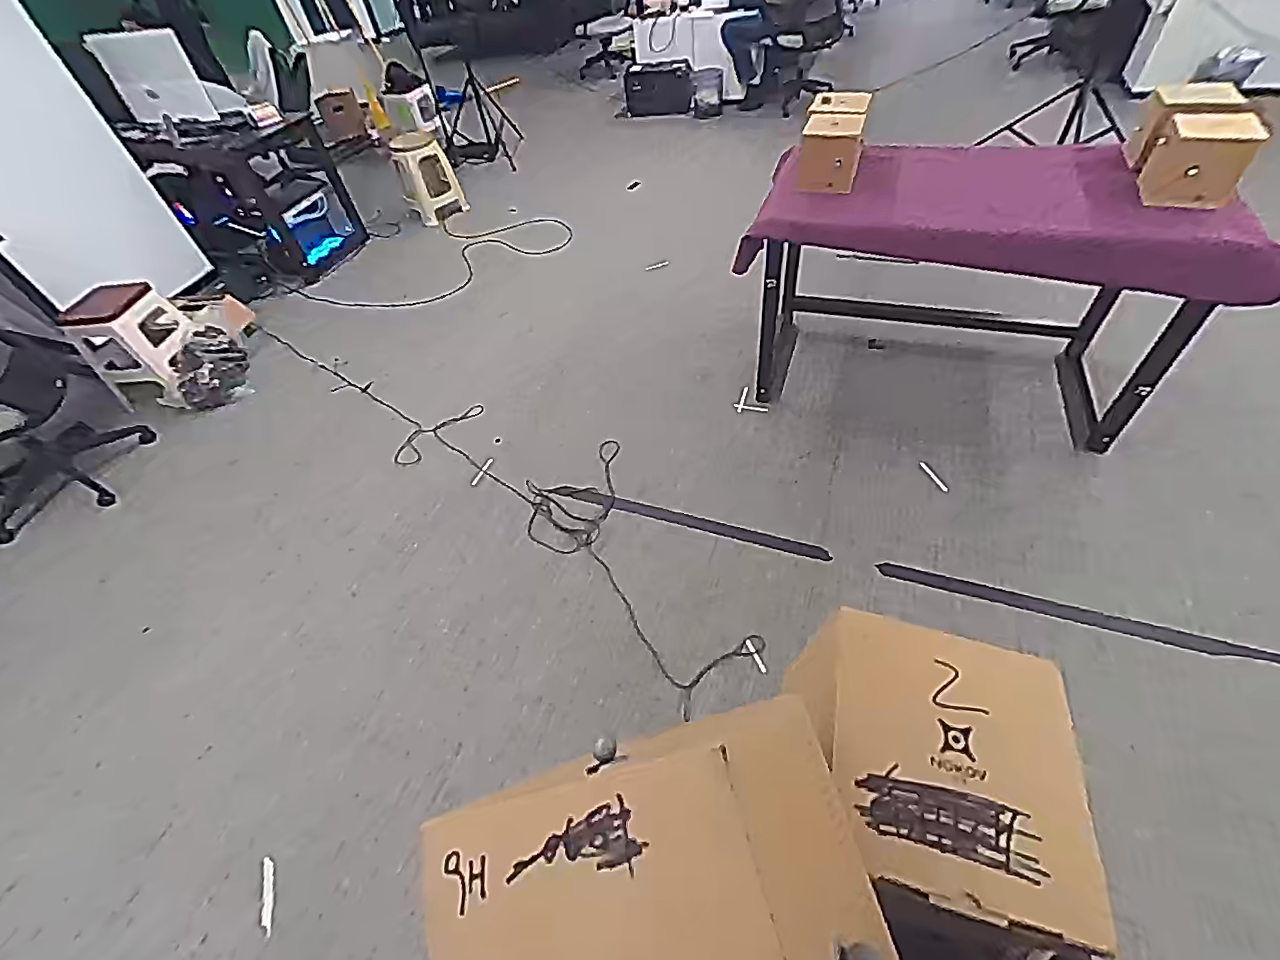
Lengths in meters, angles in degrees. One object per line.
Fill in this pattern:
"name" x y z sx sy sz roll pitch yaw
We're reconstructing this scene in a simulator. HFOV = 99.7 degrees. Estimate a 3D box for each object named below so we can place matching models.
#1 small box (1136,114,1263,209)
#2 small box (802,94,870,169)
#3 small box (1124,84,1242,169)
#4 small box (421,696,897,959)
"small box" 1.435 -0.823 1.400 0.168 0.176 0.179 16 53 22
"small box" 0.647 -1.159 1.798 0.179 0.176 0.168 15 55 18
"small box" 1.512 -0.992 1.525 0.179 0.176 0.168 13 54 18
"small box" 0.023 0.229 0.275 0.168 0.176 0.179 -26 68 18
